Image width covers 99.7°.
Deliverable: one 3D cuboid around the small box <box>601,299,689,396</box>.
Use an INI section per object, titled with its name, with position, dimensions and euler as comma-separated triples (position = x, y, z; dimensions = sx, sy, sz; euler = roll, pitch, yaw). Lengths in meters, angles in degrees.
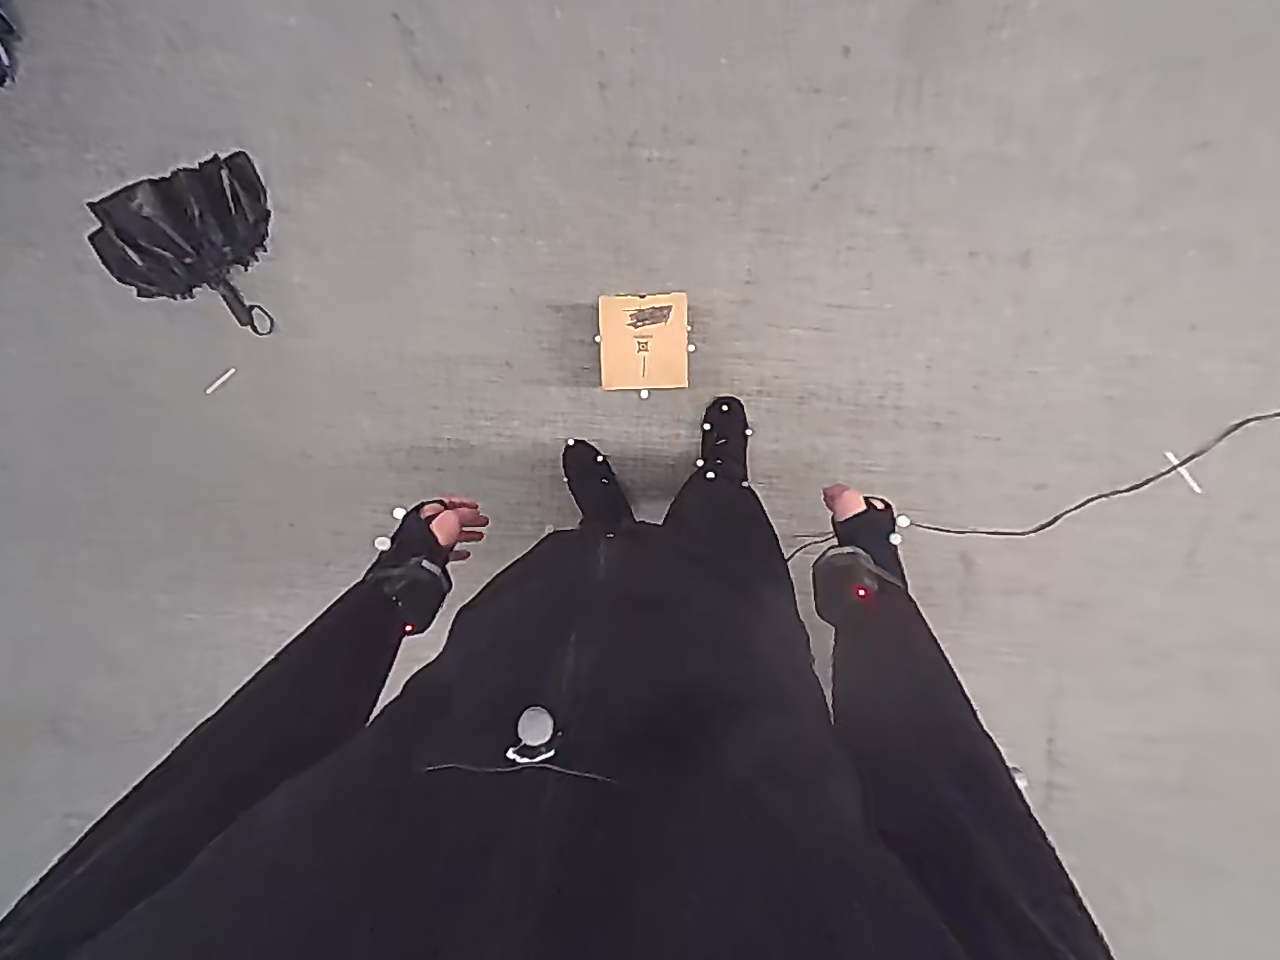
[small box]
position = 0.011, -0.260, 1.089
dimensions = 0.168, 0.176, 0.179
euler = 0, 100, 3
